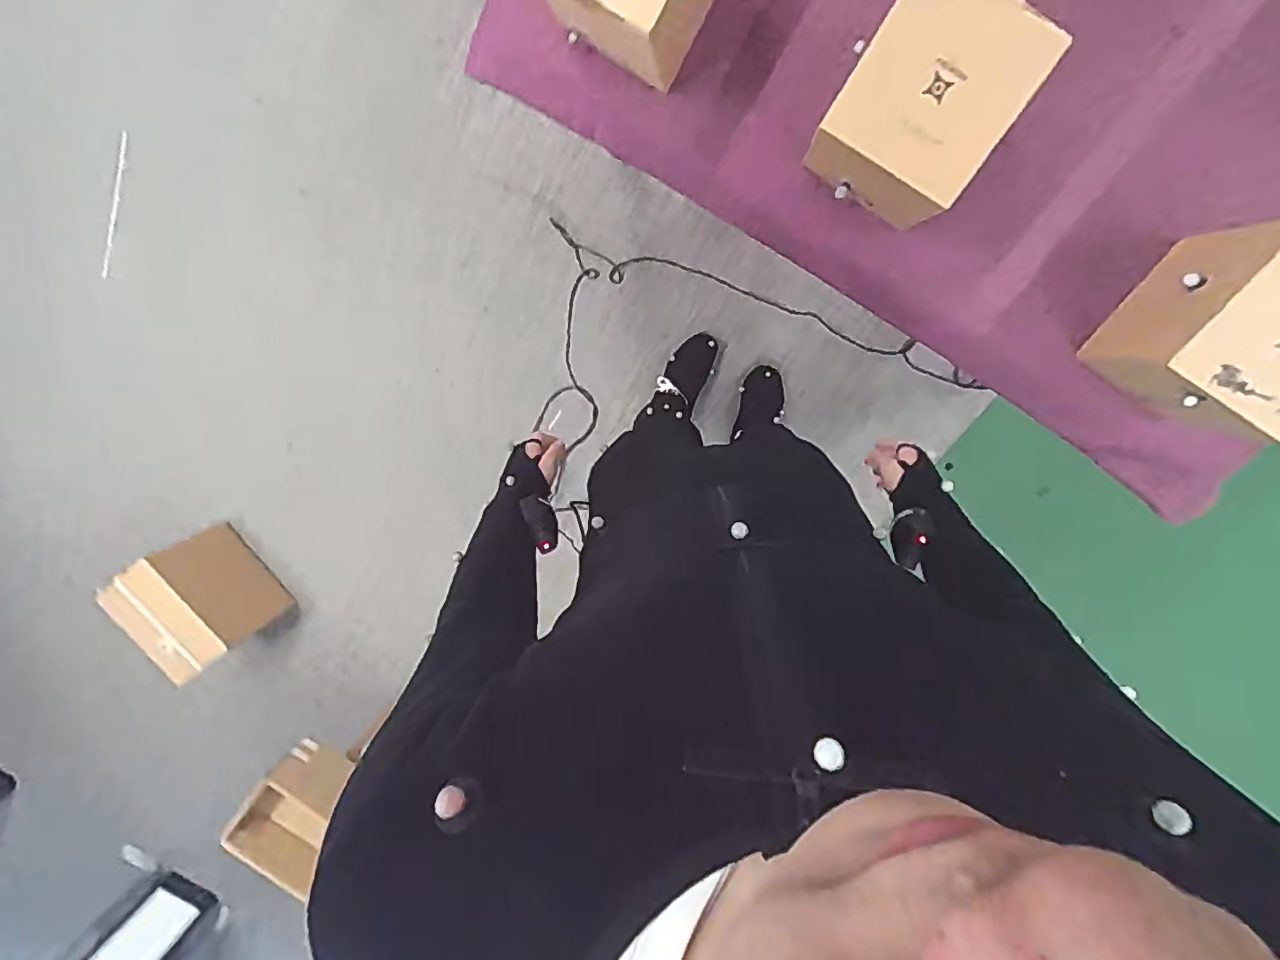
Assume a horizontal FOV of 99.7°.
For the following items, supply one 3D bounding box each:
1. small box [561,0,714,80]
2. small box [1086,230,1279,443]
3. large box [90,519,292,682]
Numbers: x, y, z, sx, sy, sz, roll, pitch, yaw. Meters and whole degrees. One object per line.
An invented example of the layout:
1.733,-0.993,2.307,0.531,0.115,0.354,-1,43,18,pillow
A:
0.002,-0.605,0.609,0.168,0.176,0.179,32,109,-2,small box
0.694,-0.171,0.633,0.168,0.176,0.179,34,108,-1,small box
-1.574,0.417,1.924,0.320,0.320,0.408,-32,101,18,large box
